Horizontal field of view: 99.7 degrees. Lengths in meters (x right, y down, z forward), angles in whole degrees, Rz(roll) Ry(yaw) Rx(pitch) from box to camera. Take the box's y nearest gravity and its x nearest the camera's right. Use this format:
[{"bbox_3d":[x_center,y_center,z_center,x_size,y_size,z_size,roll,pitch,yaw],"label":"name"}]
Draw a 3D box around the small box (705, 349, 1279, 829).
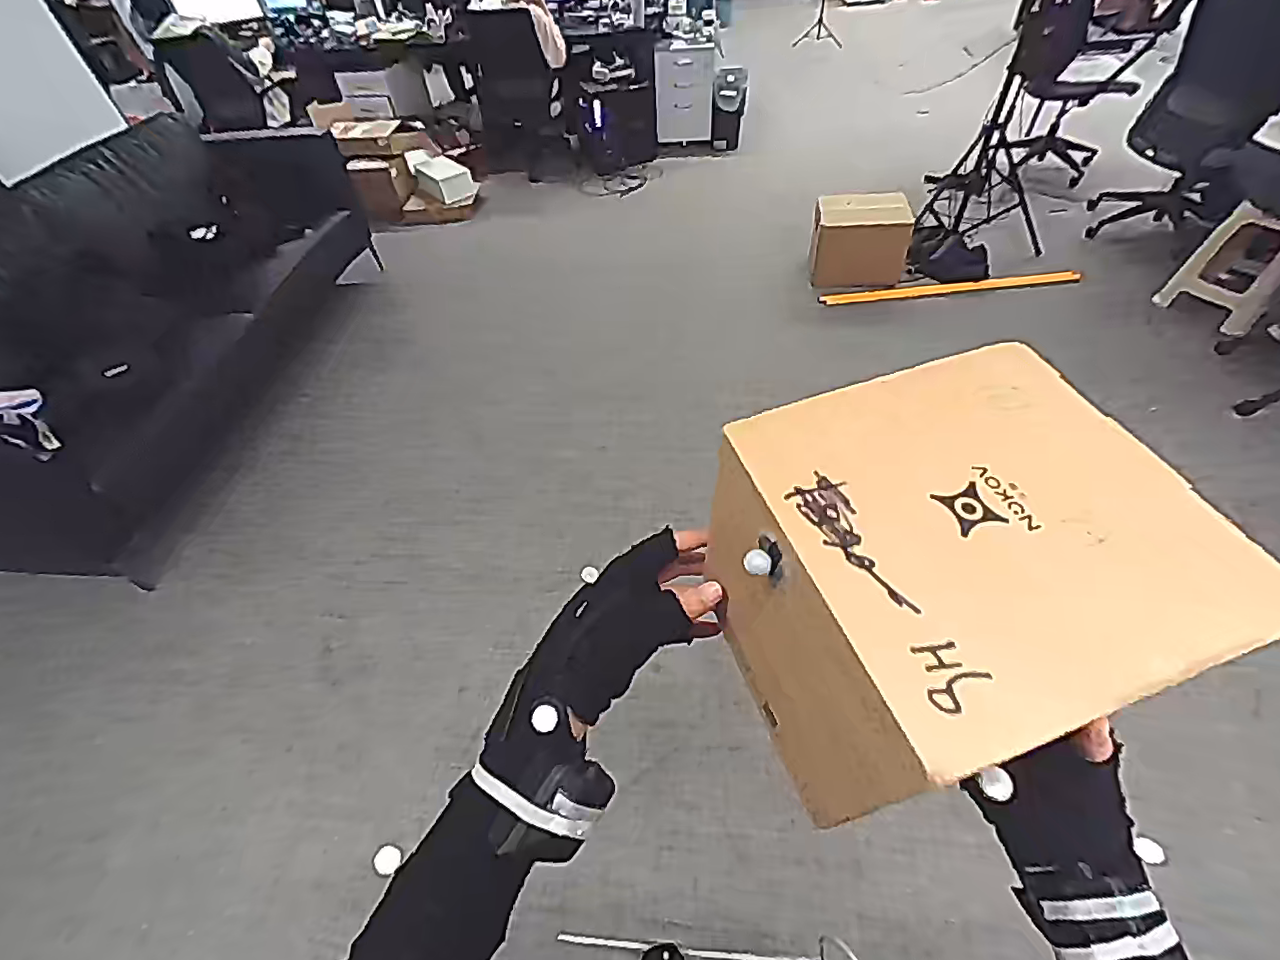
[{"bbox_3d":[0.148,0.062,0.290,0.179,0.176,0.168,-16,54,-11],"label":"small box"}]
